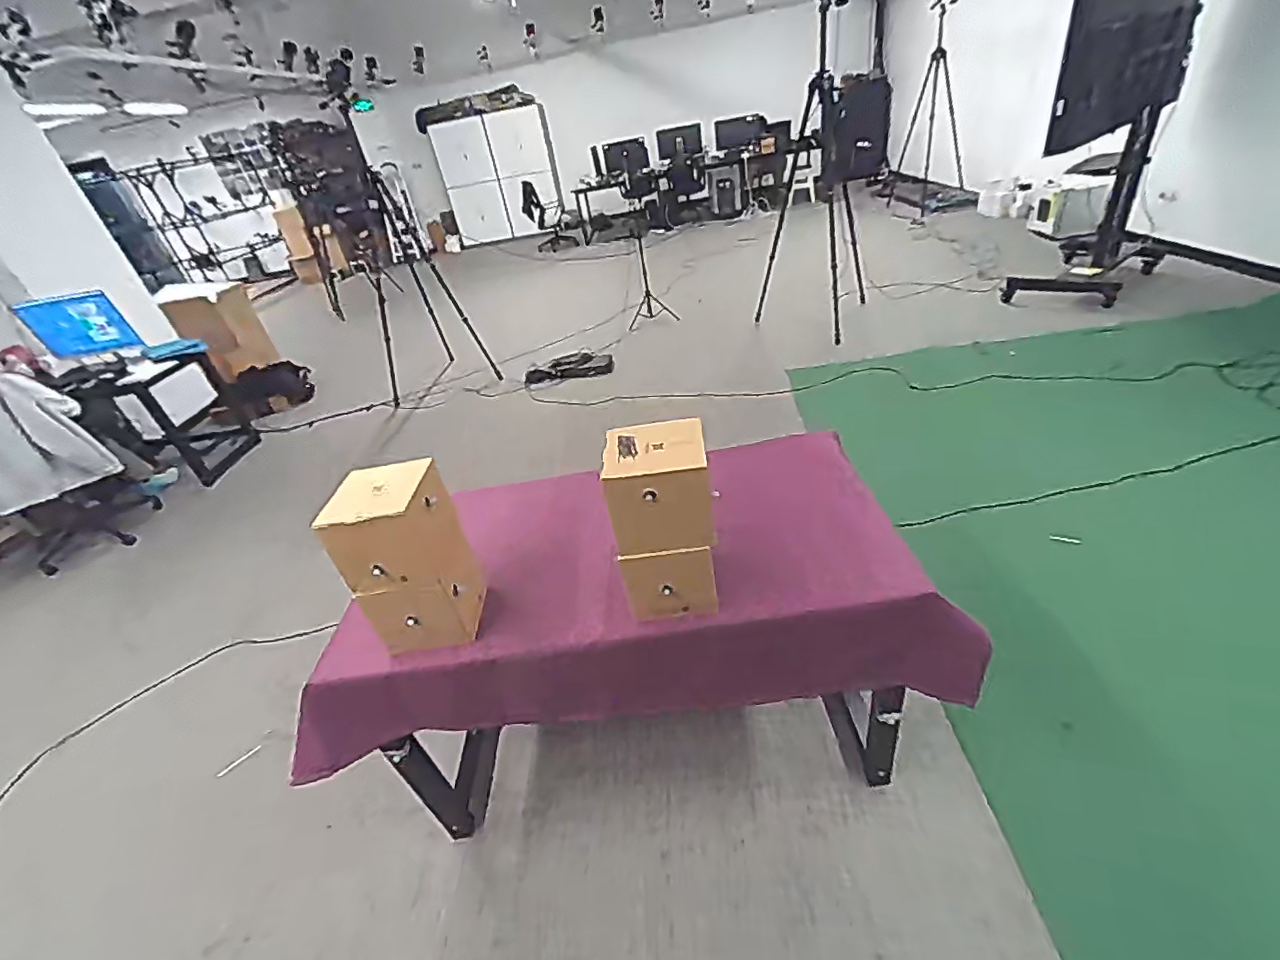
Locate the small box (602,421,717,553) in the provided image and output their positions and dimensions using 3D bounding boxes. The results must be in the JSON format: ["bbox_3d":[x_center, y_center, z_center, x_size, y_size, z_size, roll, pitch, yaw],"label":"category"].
[{"bbox_3d":[0.039,0.015,0.968,0.179,0.176,0.168,-6,35,6],"label":"small box"}]

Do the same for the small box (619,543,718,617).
[{"bbox_3d":[0.058,0.152,1.058,0.168,0.176,0.179,-7,34,6],"label":"small box"}]

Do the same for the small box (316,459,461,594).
[{"bbox_3d":[-0.452,0.086,1.009,0.168,0.176,0.179,-9,34,3],"label":"small box"}]
